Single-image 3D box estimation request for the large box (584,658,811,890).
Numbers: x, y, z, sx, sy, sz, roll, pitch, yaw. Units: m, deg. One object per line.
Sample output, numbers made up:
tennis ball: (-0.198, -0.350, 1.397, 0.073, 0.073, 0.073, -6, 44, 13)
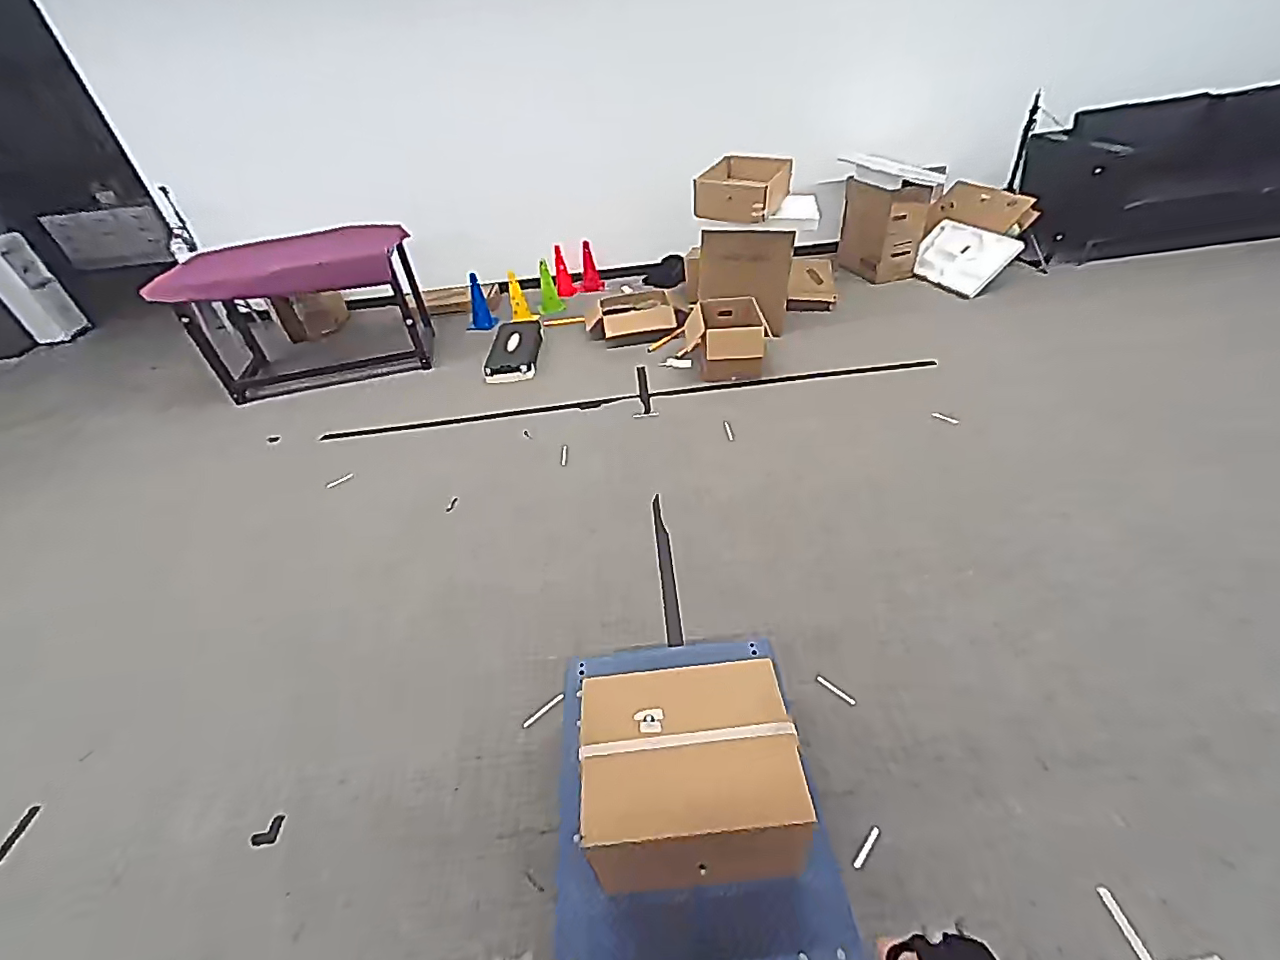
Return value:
large box: (0.107, 0.620, 1.143, 0.408, 0.320, 0.320, -8, 39, 1)
